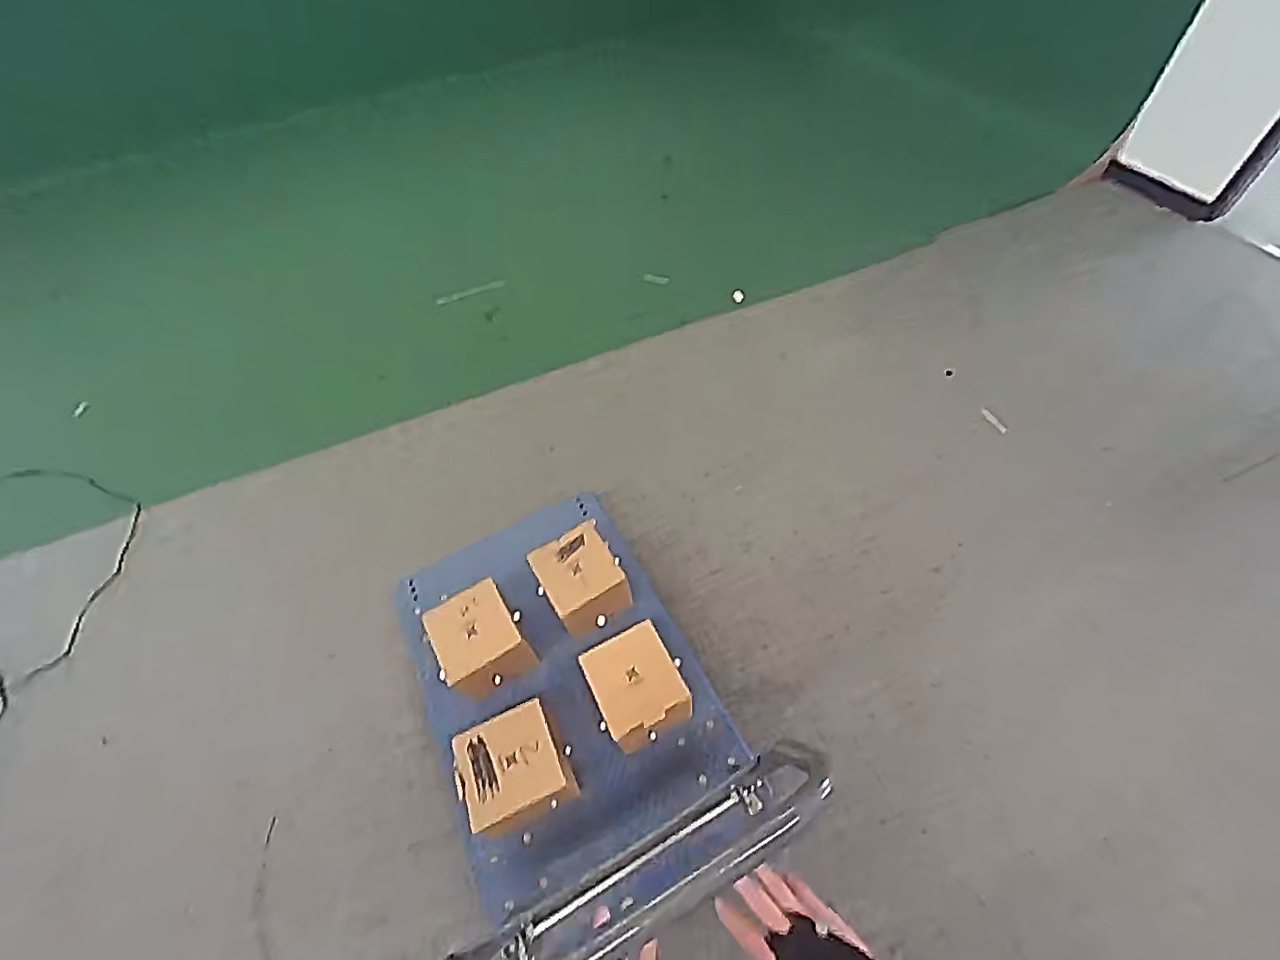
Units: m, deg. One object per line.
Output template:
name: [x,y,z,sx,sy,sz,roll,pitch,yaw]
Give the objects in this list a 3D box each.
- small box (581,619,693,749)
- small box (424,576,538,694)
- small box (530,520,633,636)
small box: [-0.005,0.423,1.116,0.168,0.176,0.179,-25,57,-11]
small box: [-0.345,0.351,1.197,0.168,0.176,0.179,-28,58,-14]
small box: [-0.132,0.231,1.258,0.168,0.176,0.179,-29,59,-13]
